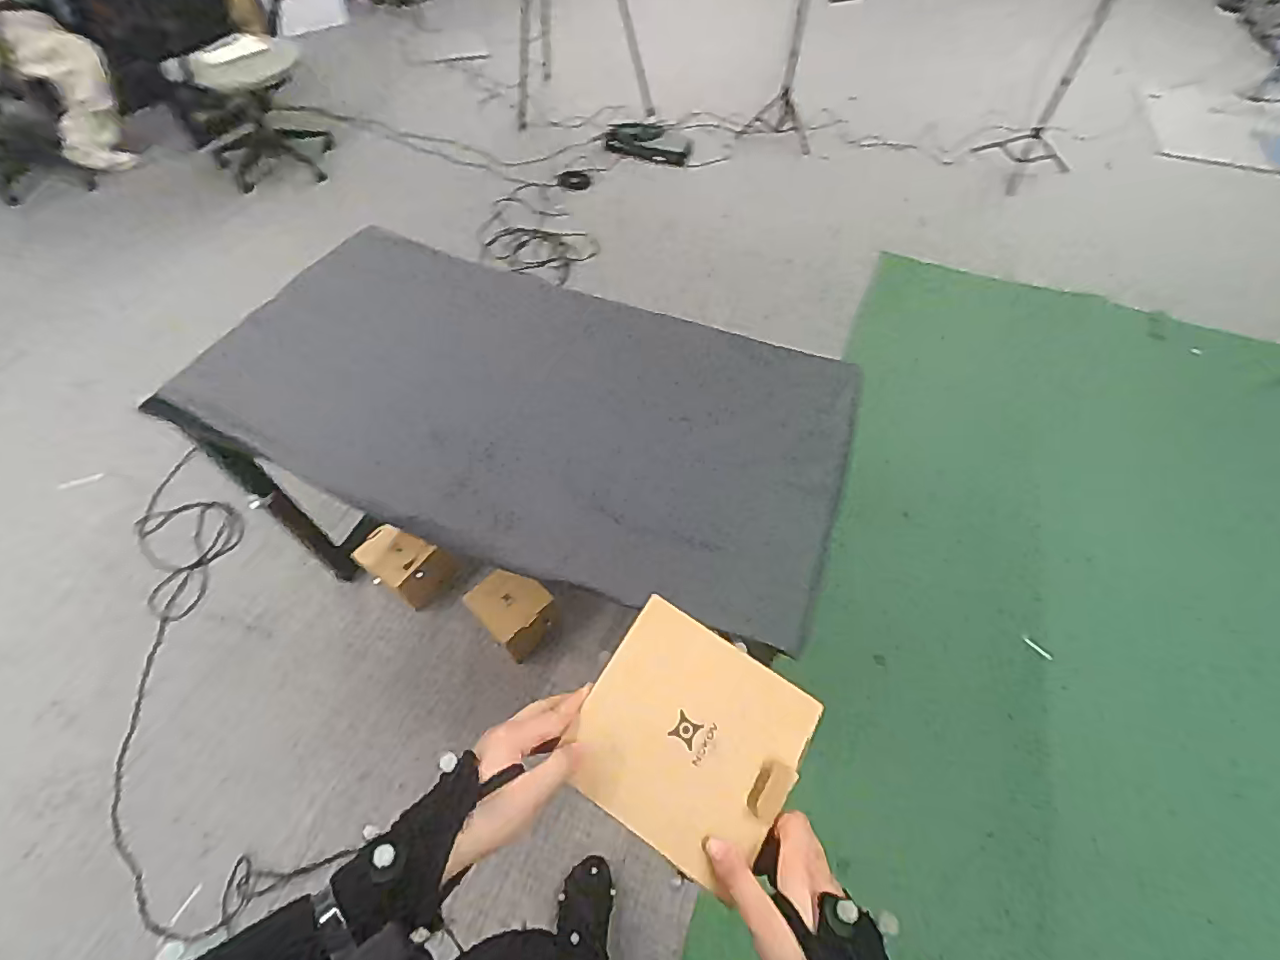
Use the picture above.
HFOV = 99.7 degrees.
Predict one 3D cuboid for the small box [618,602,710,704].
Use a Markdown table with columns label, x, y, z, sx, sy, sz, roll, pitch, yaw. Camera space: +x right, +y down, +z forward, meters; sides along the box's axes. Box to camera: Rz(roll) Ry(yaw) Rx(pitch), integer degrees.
| label | x | y | z | sx | sy | sz | roll | pitch | yaw |
| --- | --- | --- | --- | --- | --- | --- | --- | --- | --- |
| small box | 0.058 | 0.442 | 1.367 | 0.179 | 0.176 | 0.168 | 24 | 59 | 14 |

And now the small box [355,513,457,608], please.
| label | x | y | z | sx | sy | sz | roll | pitch | yaw |
| --- | --- | --- | --- | --- | --- | --- | --- | --- | --- |
| small box | -0.648 | 0.230 | 1.516 | 0.179 | 0.176 | 0.168 | 29 | 60 | 20 |

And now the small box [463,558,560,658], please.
| label | x | y | z | sx | sy | sz | roll | pitch | yaw |
| --- | --- | --- | --- | --- | --- | --- | --- | --- | --- |
| small box | -0.332 | 0.347 | 1.435 | 0.179 | 0.176 | 0.168 | 36 | 61 | 24 |
